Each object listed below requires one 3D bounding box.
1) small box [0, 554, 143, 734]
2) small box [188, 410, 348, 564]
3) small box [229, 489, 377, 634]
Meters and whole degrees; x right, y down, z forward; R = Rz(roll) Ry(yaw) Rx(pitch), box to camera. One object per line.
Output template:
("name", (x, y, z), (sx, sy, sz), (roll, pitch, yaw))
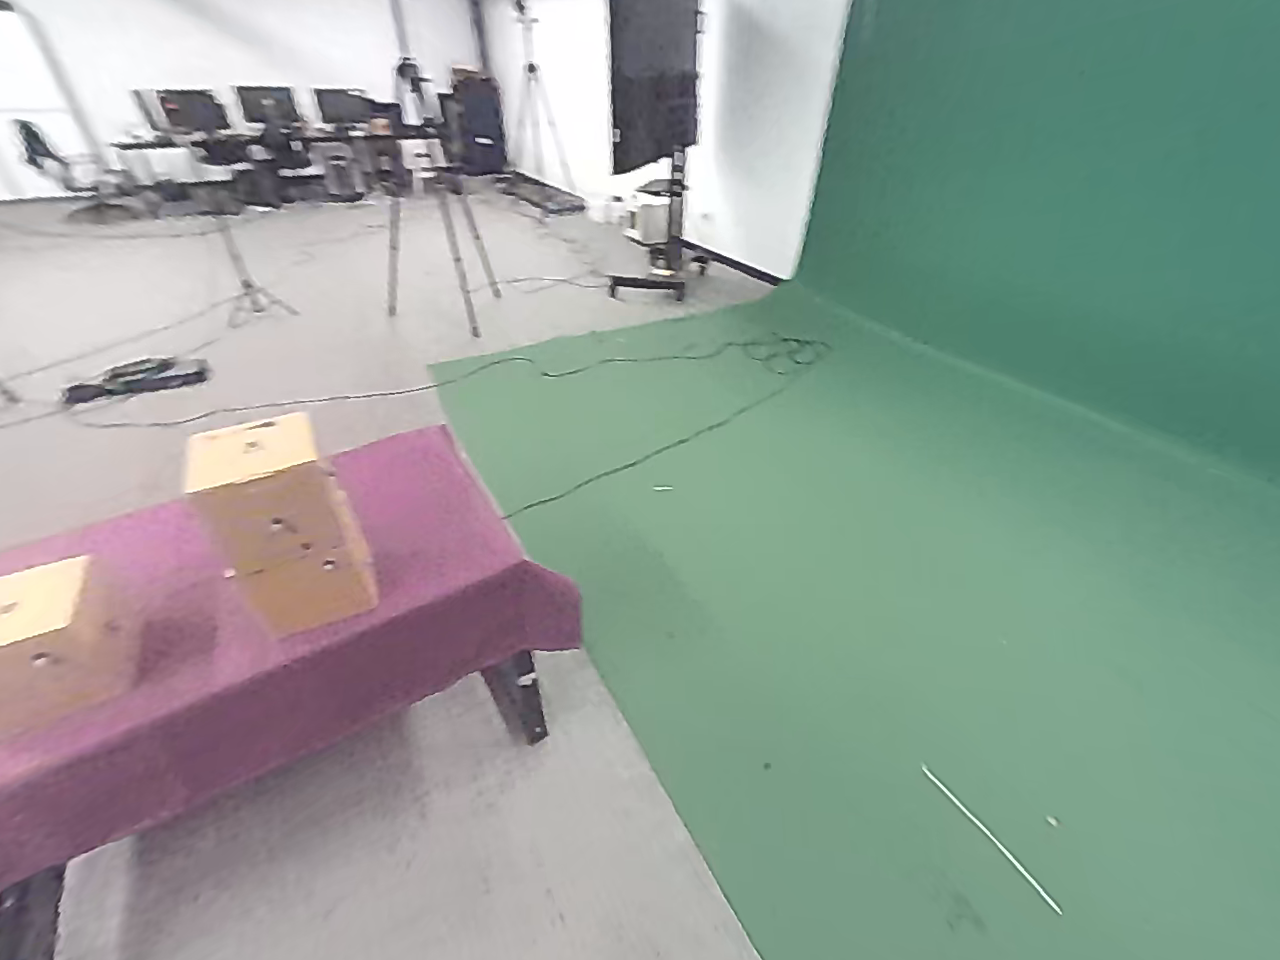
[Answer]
("small box", (-0.918, 0.249, 0.832), (0.179, 0.176, 0.168), (-19, 41, -24))
("small box", (-0.593, 0.015, 0.879), (0.168, 0.176, 0.179), (-18, 42, -25))
("small box", (-0.599, 0.147, 0.977), (0.179, 0.176, 0.168), (-16, 41, -22))
